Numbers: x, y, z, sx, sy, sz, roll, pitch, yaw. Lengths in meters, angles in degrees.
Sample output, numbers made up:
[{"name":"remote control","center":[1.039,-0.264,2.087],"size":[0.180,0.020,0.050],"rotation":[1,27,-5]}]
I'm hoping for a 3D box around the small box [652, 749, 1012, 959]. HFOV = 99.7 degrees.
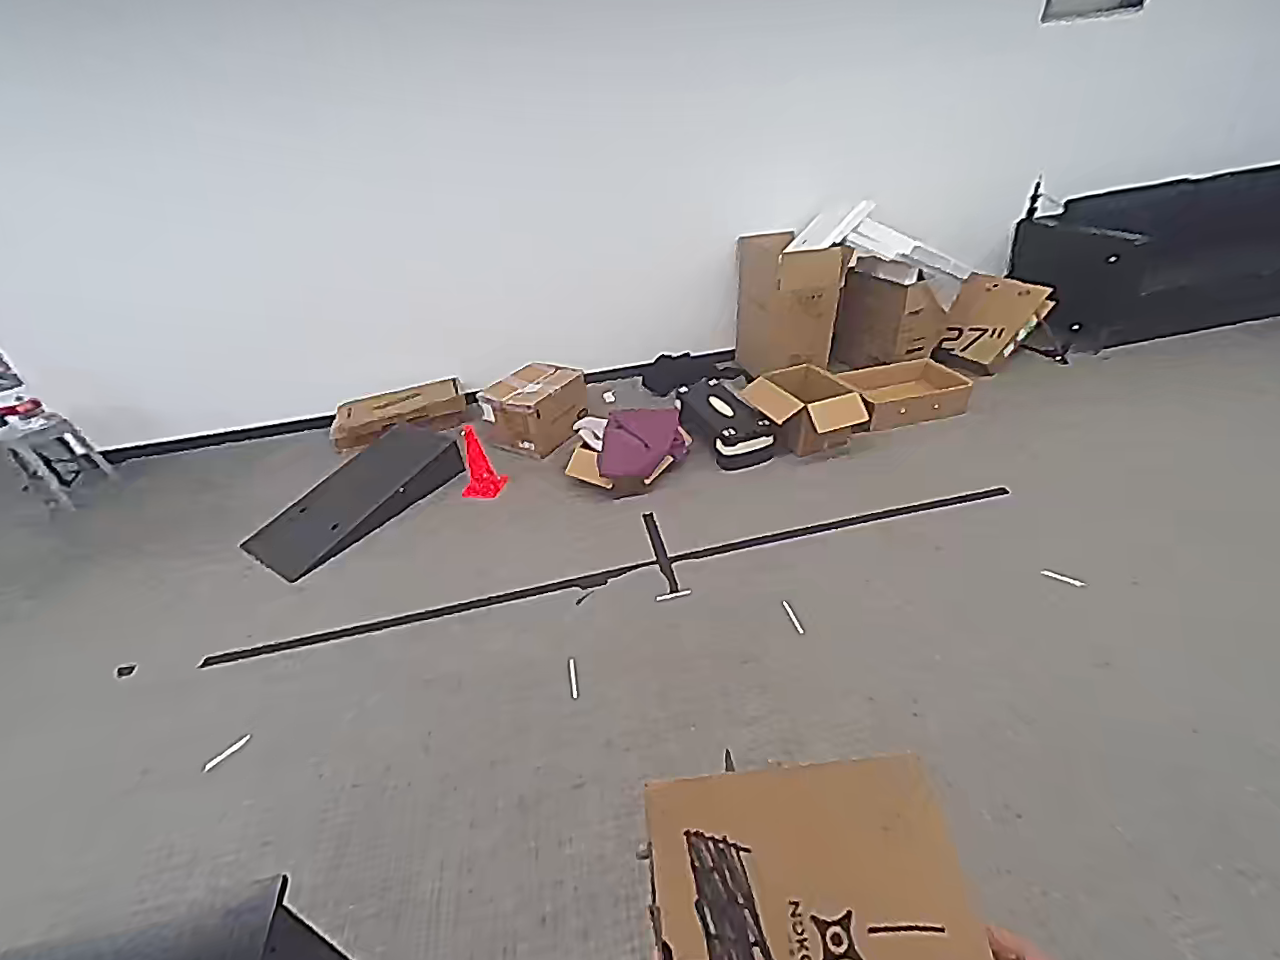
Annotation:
[{"name":"small box","center":[0.105,0.284,0.347],"size":[0.179,0.176,0.168],"rotation":[-6,55,-1]}]
